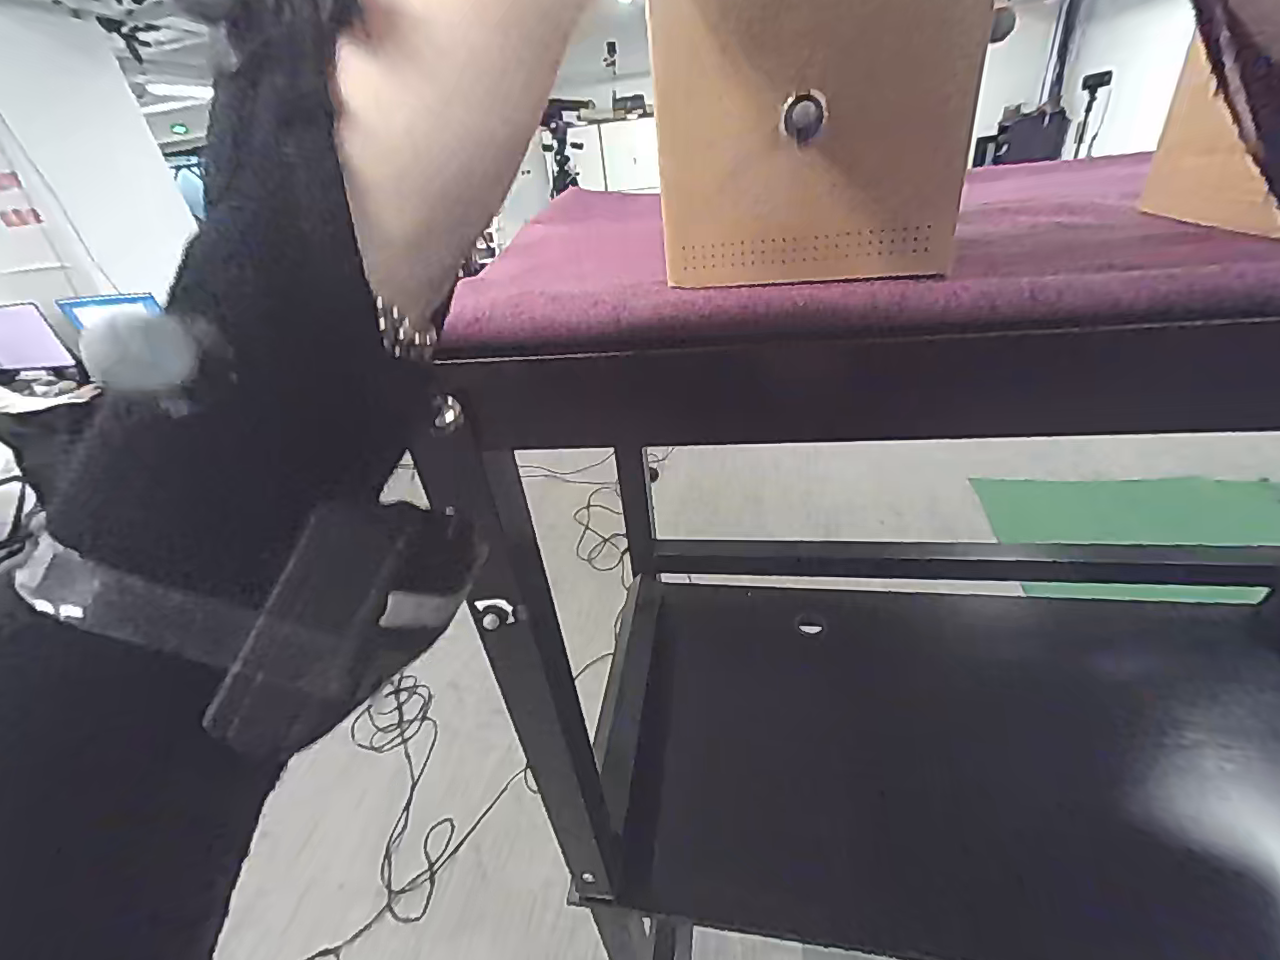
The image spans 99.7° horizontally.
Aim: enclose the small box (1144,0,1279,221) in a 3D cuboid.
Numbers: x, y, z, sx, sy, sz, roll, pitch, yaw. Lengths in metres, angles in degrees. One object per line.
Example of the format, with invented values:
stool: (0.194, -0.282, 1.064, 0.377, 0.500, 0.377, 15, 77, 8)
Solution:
small box: (0.448, -0.251, 0.307, 0.168, 0.176, 0.179, 1, 33, 15)
